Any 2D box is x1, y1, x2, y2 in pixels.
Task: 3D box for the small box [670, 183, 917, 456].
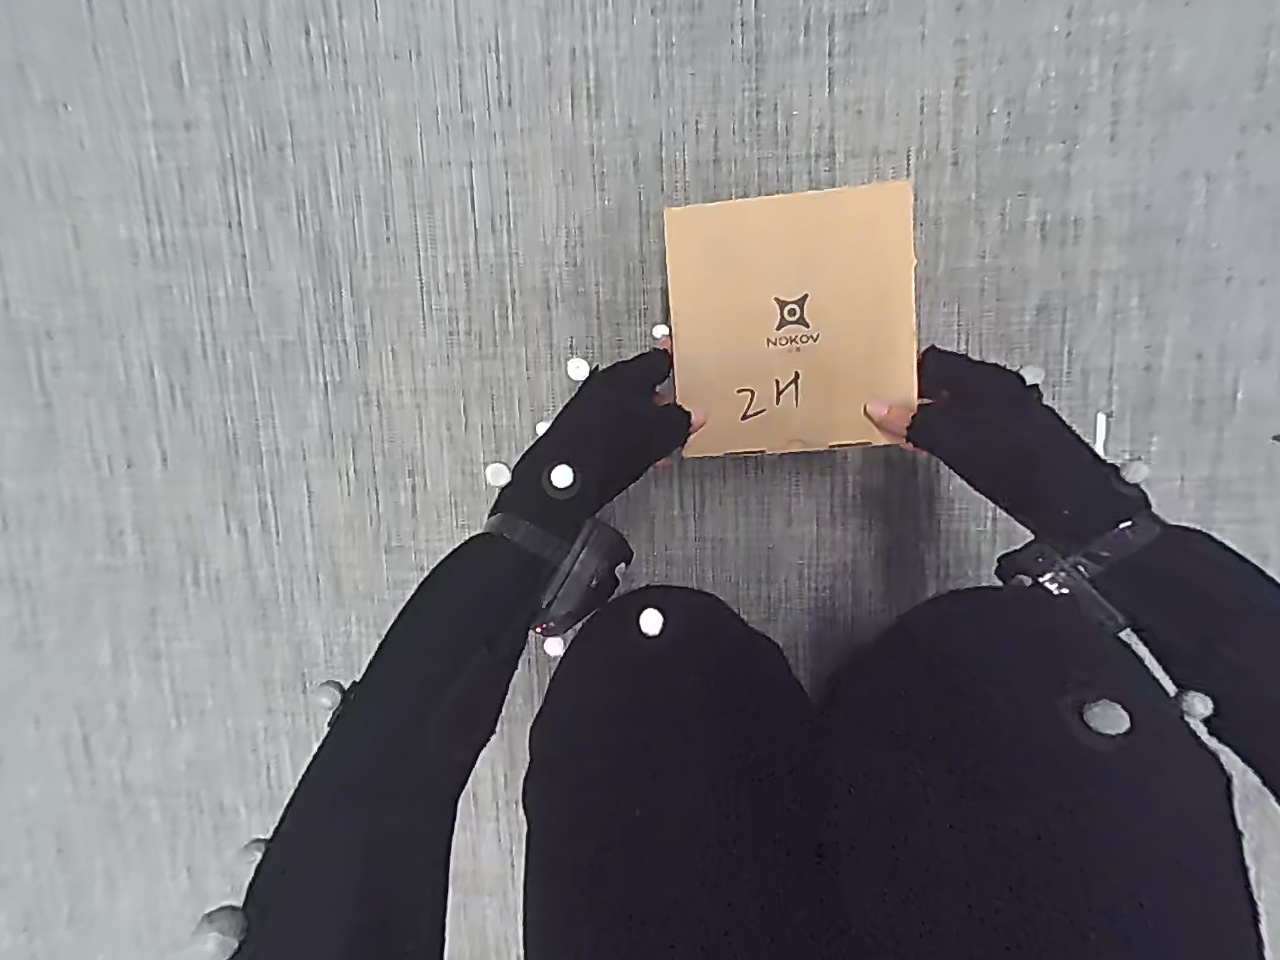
[{"bbox_3d":[0.110,-0.113,0.448,0.168,0.176,0.179,-3,96,5],"label":"small box"}]
